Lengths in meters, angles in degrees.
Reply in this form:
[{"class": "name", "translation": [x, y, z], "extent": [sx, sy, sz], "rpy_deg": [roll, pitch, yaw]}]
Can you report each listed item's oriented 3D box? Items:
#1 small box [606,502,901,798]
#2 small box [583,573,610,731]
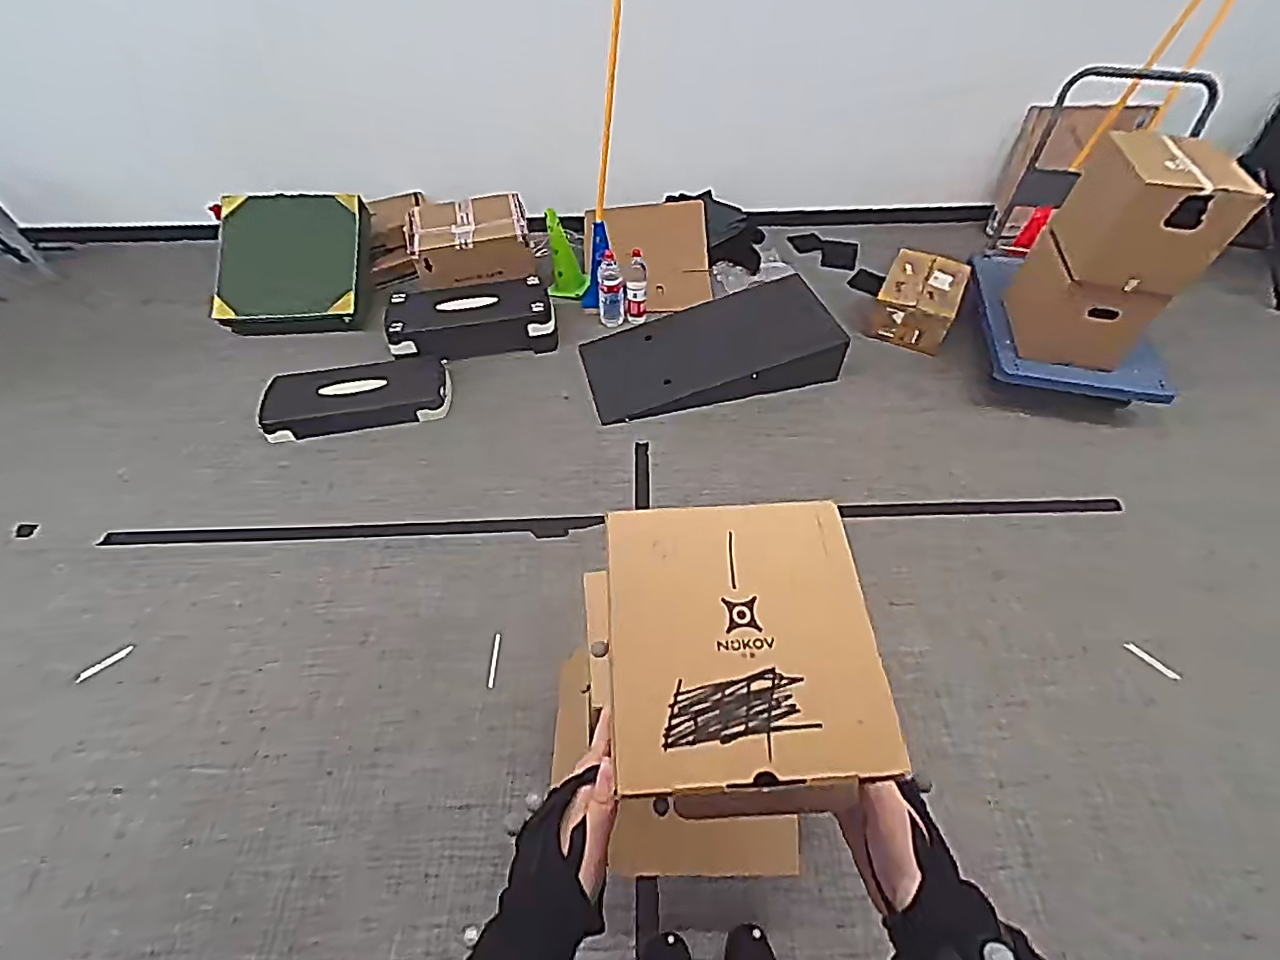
[{"class": "small box", "translation": [0.062, 0.134, 0.409], "extent": [0.168, 0.176, 0.179], "rpy_deg": [-2, 60, -2]}, {"class": "small box", "translation": [0.011, 0.236, 0.744], "extent": [0.168, 0.176, 0.179], "rpy_deg": [-4, 55, -7]}]
